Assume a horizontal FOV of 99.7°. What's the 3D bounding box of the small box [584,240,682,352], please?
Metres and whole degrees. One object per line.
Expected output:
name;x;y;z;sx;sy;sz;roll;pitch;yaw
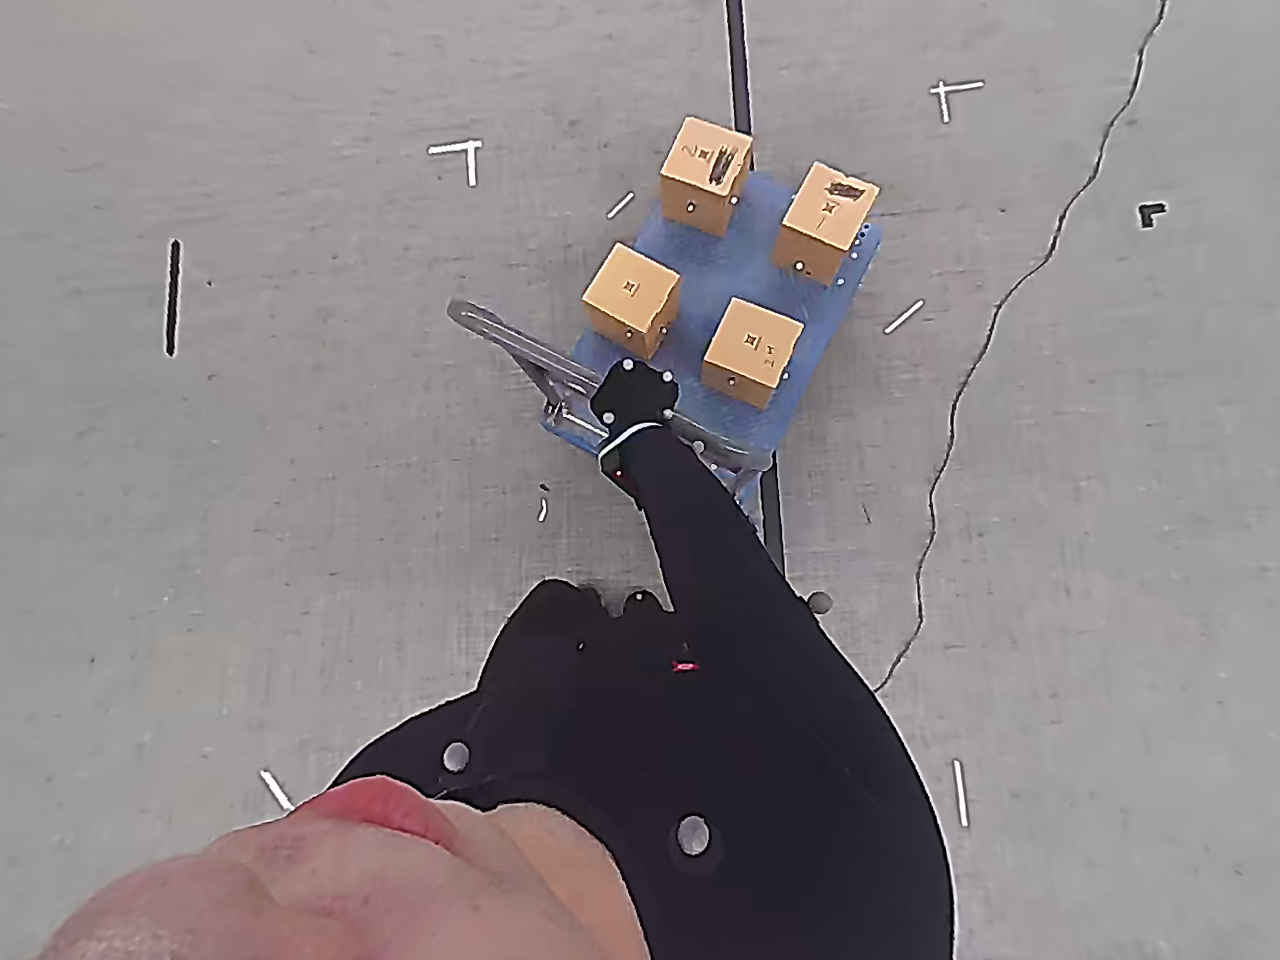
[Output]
small box;-0.013;-0.442;1.330;0.179;0.176;0.168;30;85;6

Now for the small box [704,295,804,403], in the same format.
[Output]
small box;0.261;-0.303;1.287;0.179;0.176;0.168;25;85;8

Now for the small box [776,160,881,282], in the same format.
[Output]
small box;0.448;-0.624;1.319;0.168;0.176;0.179;28;86;8
